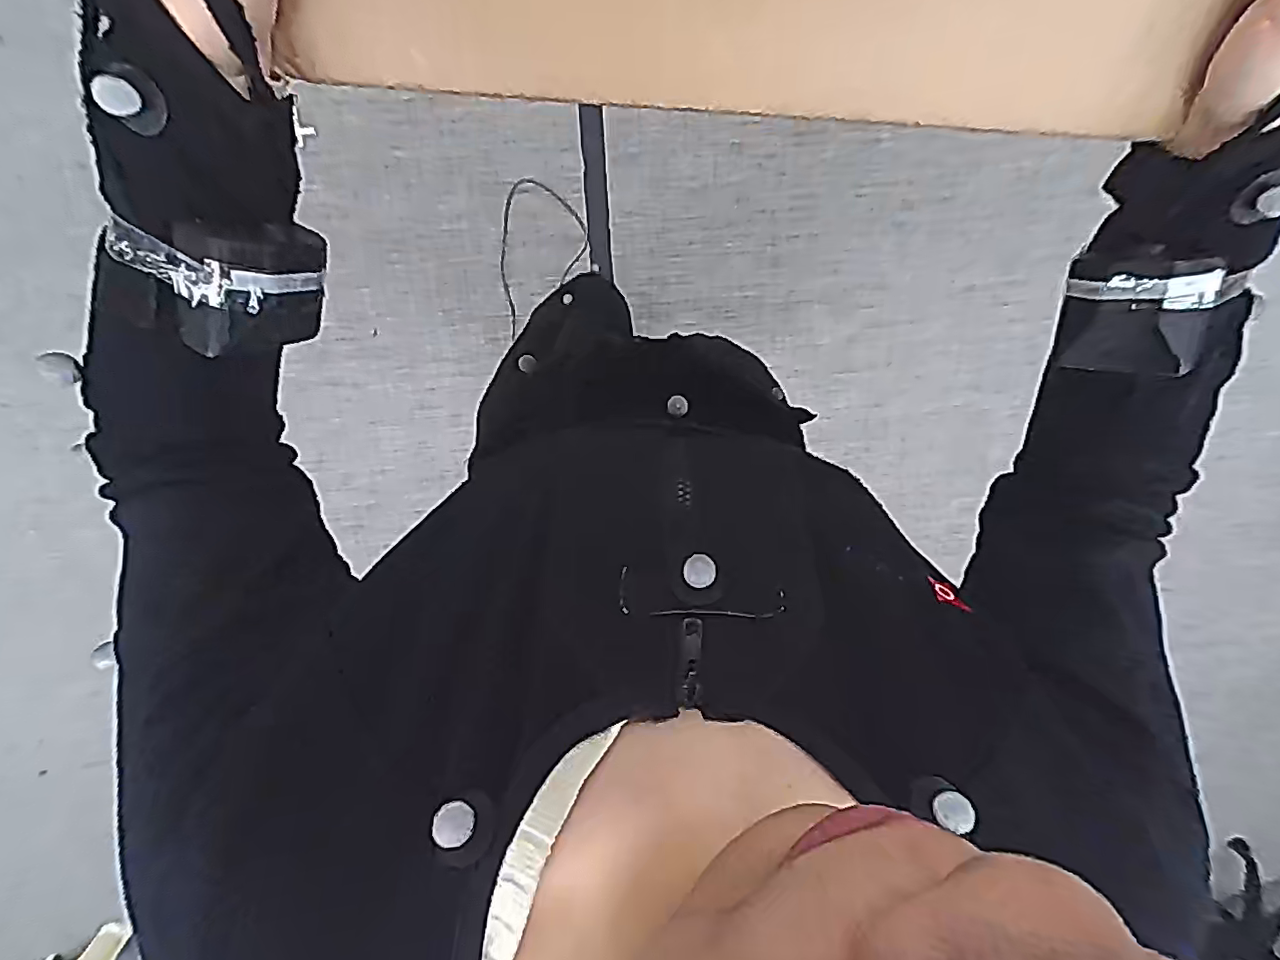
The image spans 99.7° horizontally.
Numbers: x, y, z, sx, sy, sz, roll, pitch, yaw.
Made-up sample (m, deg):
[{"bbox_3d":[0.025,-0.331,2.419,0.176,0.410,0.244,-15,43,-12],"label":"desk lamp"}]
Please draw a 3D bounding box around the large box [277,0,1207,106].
[{"bbox_3d":[0.046,-0.393,0.264,0.408,0.320,0.320,1,131,-4],"label":"large box"}]
